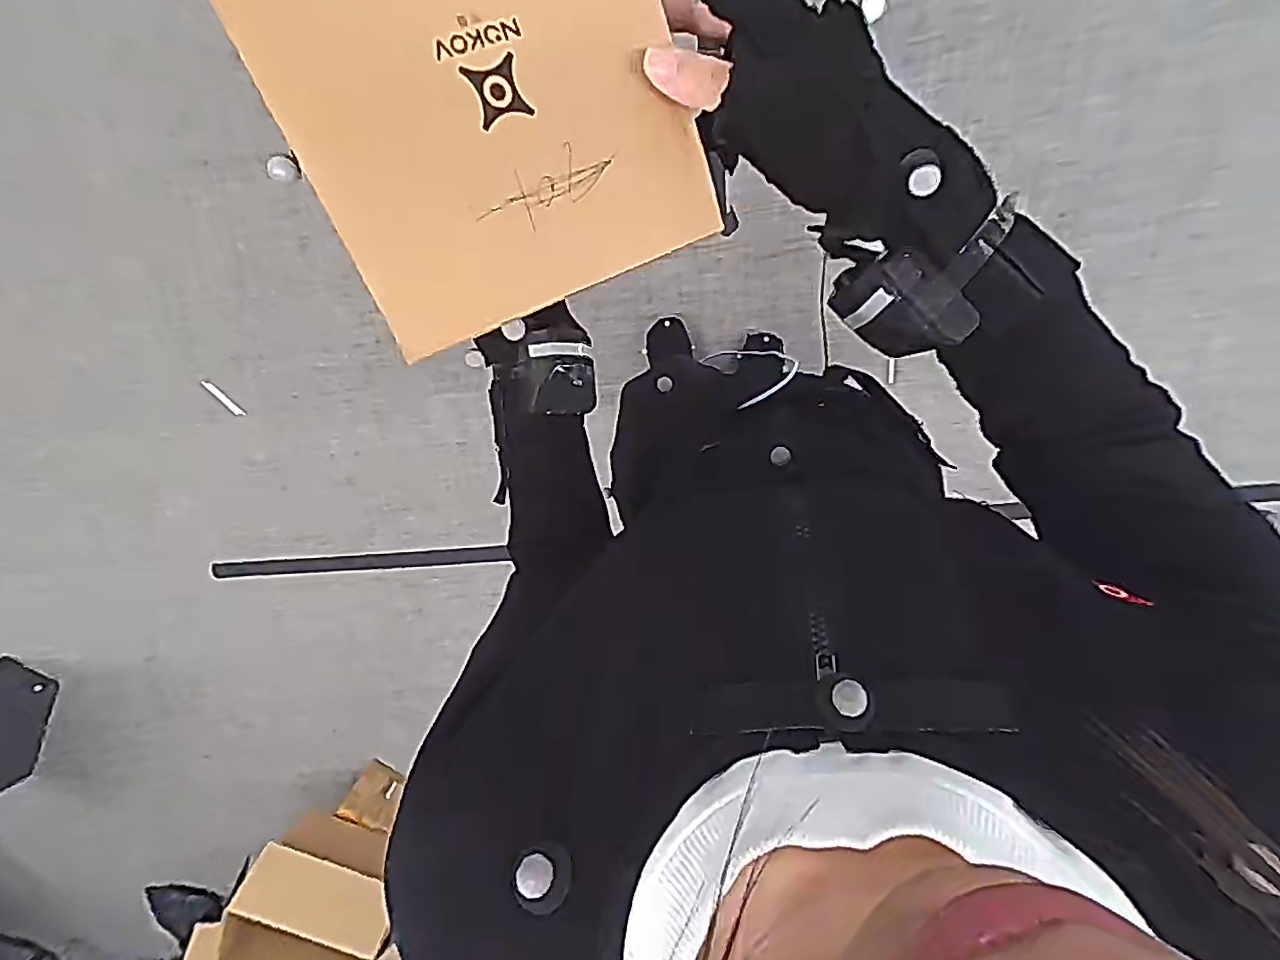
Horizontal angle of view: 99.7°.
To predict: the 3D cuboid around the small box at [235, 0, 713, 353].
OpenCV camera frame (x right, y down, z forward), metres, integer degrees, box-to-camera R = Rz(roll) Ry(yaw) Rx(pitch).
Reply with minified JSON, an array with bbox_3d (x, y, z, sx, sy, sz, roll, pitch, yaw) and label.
[{"bbox_3d":[-0.089,-0.184,0.307,0.168,0.176,0.179,-27,113,-12],"label":"small box"}]
